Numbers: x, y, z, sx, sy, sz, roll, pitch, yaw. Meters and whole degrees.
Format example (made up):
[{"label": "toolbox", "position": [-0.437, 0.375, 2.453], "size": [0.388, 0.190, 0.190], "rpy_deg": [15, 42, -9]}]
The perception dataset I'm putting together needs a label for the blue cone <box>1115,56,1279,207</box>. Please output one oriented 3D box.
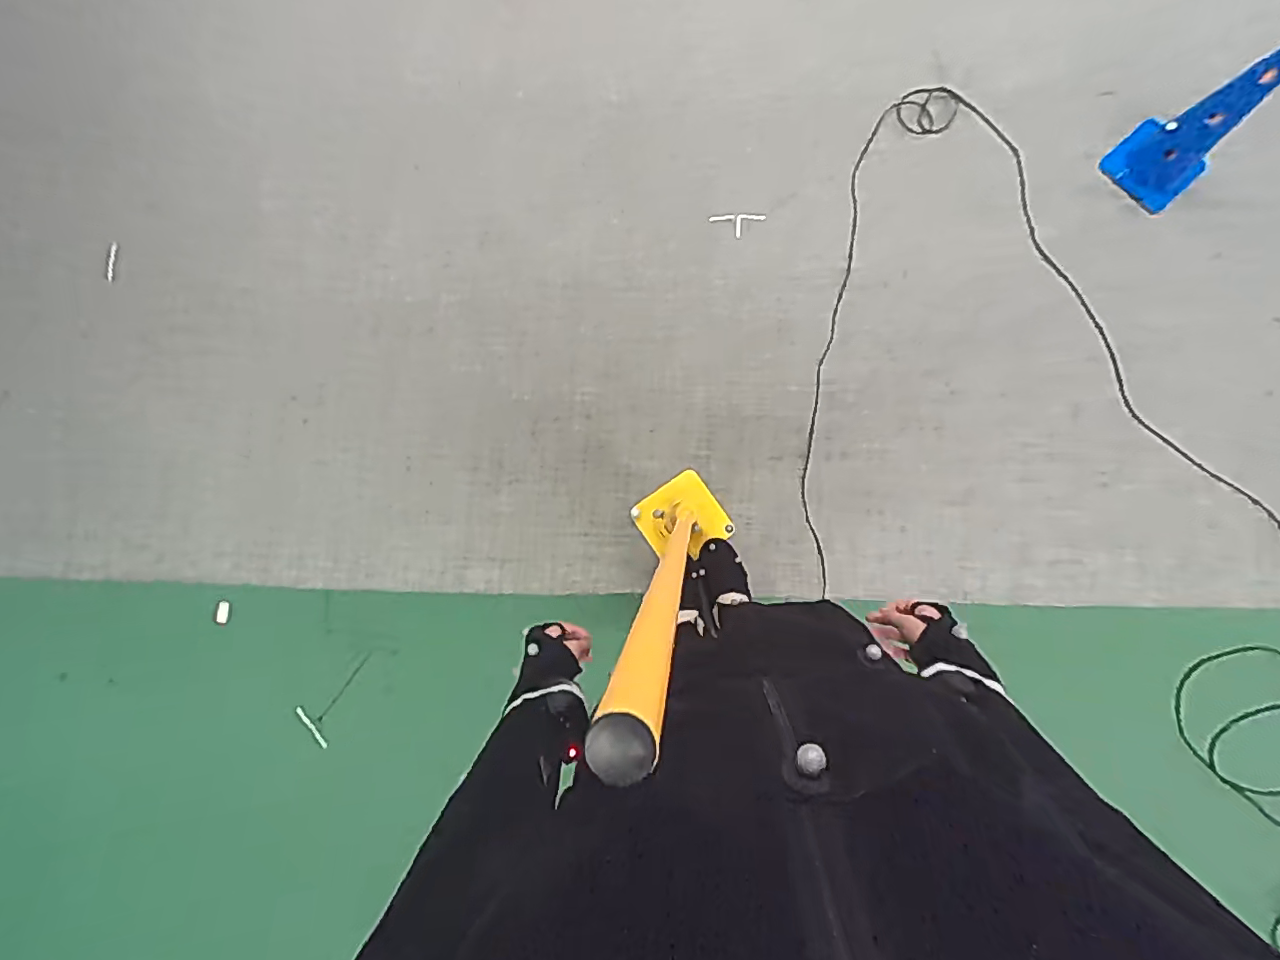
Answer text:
[{"label": "blue cone", "position": [1.321, -0.830, 1.211], "size": [0.193, 0.380, 0.192], "rpy_deg": [-43, 83, -4]}]
